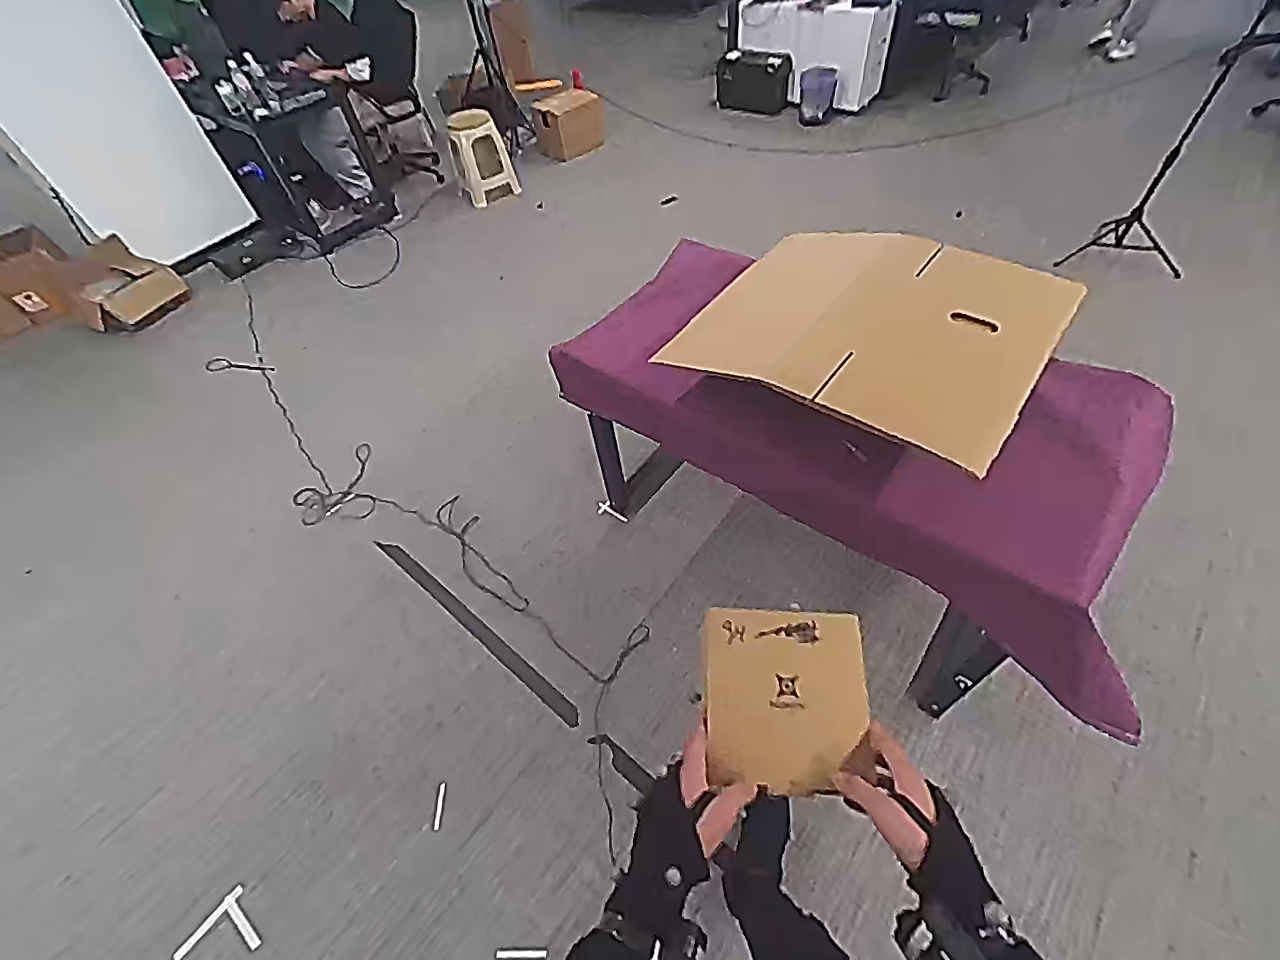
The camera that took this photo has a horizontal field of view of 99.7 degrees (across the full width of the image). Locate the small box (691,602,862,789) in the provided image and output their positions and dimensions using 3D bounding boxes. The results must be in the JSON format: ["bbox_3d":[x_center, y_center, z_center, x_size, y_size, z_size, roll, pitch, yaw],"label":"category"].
[{"bbox_3d":[0.149,0.252,0.642,0.168,0.176,0.179,2,66,4],"label":"small box"}]
